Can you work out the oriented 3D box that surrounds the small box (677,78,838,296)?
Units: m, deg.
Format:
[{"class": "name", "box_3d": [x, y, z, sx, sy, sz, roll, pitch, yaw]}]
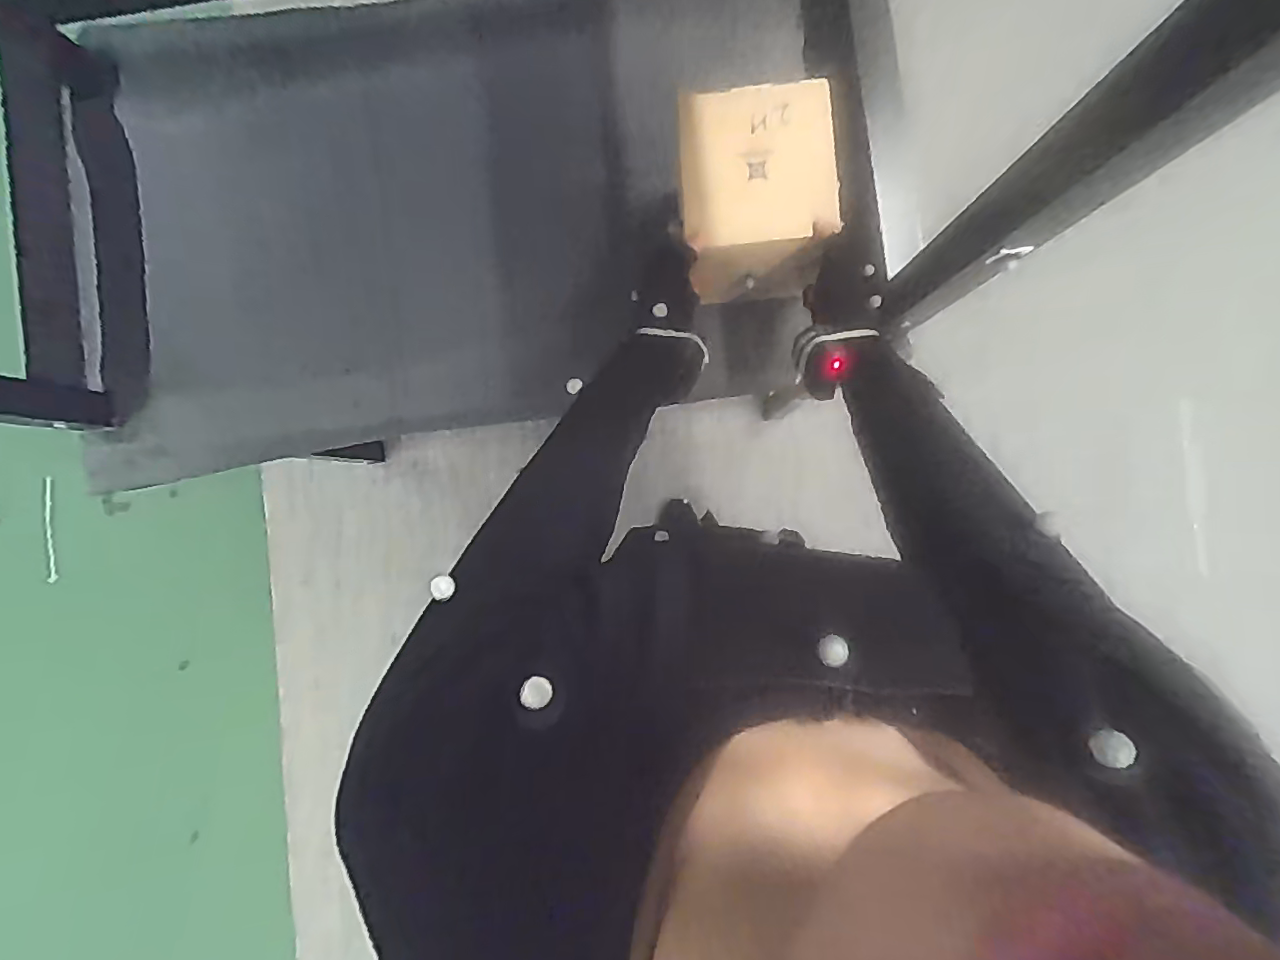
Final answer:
[{"class": "small box", "box_3d": [0.133, -0.338, 0.662, 0.168, 0.176, 0.179, -3, 86, 5]}]
